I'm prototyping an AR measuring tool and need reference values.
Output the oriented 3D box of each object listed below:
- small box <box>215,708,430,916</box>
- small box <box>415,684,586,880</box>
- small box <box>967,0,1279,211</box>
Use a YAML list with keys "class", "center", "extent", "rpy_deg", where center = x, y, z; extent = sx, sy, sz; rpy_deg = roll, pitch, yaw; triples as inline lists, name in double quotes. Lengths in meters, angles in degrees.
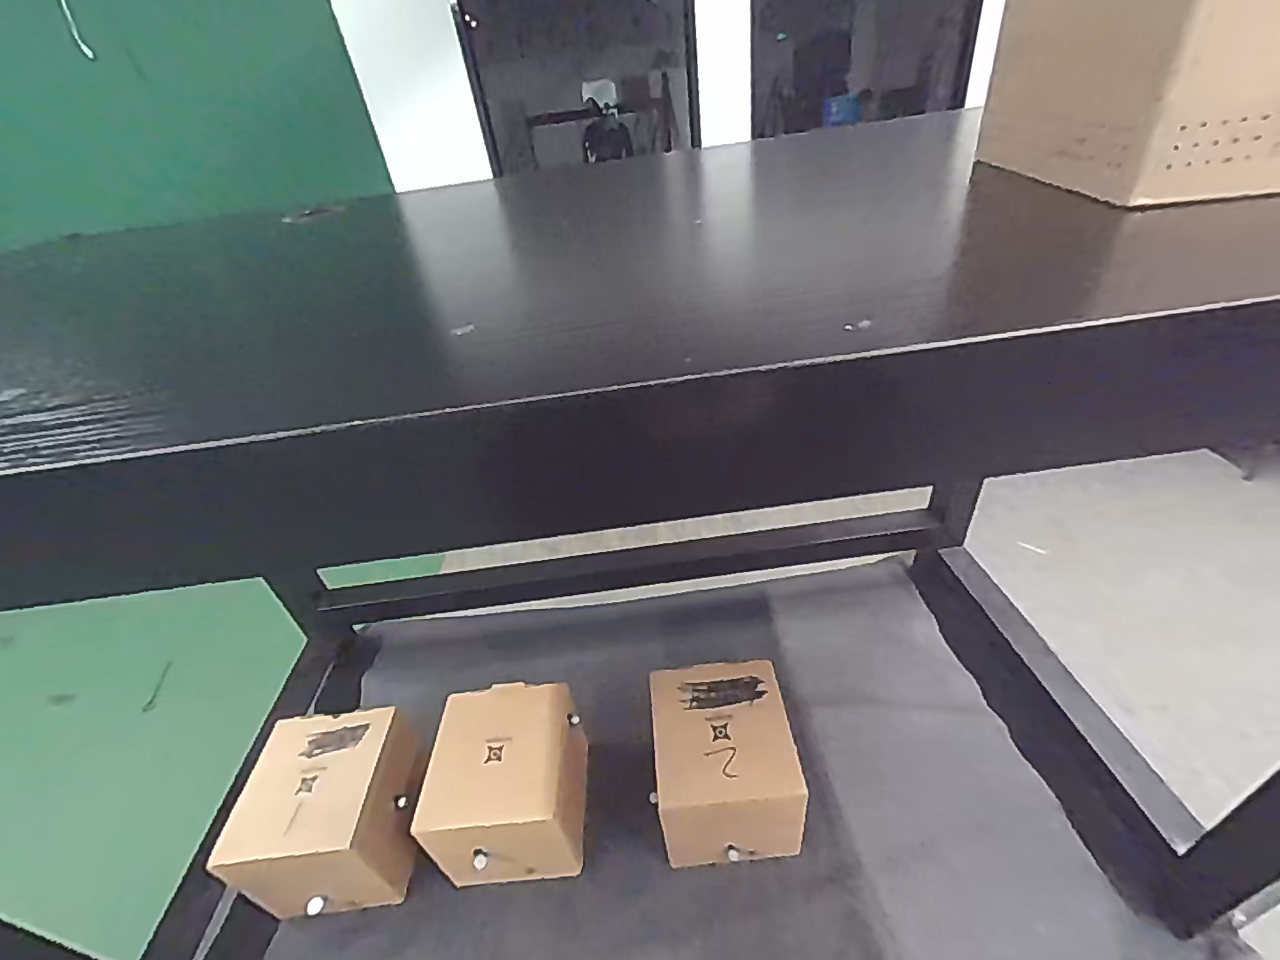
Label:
- class: "small box"
  center: [-0.393, 0.436, 0.716]
  extent: [0.168, 0.176, 0.179]
  rpy_deg: [-7, 35, 1]
- class: "small box"
  center: [-0.168, 0.404, 0.720]
  extent: [0.168, 0.176, 0.179]
  rpy_deg: [-7, 34, 2]
- class: "small box"
  center: [0.273, -0.225, 0.237]
  extent: [0.168, 0.176, 0.179]
  rpy_deg: [-1, 35, 10]
